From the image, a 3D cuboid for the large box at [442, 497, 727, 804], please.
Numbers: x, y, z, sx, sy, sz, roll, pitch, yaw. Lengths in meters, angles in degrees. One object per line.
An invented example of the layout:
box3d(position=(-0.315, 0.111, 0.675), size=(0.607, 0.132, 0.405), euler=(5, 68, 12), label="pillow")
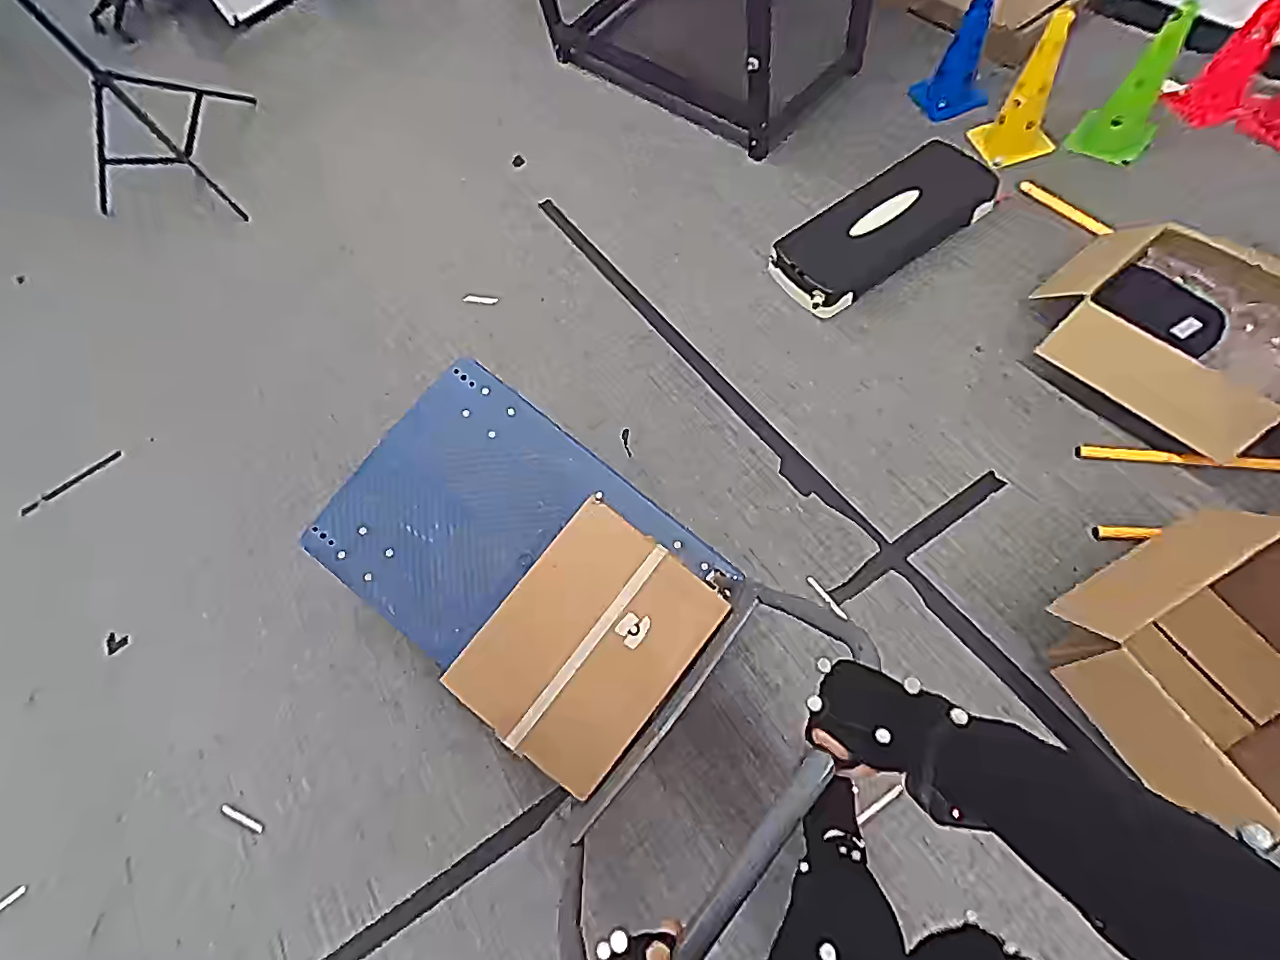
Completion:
box3d(position=(-0.093, 0.298, 1.044), size=(0.320, 0.320, 0.408), euler=(38, 82, 3), label="large box")
